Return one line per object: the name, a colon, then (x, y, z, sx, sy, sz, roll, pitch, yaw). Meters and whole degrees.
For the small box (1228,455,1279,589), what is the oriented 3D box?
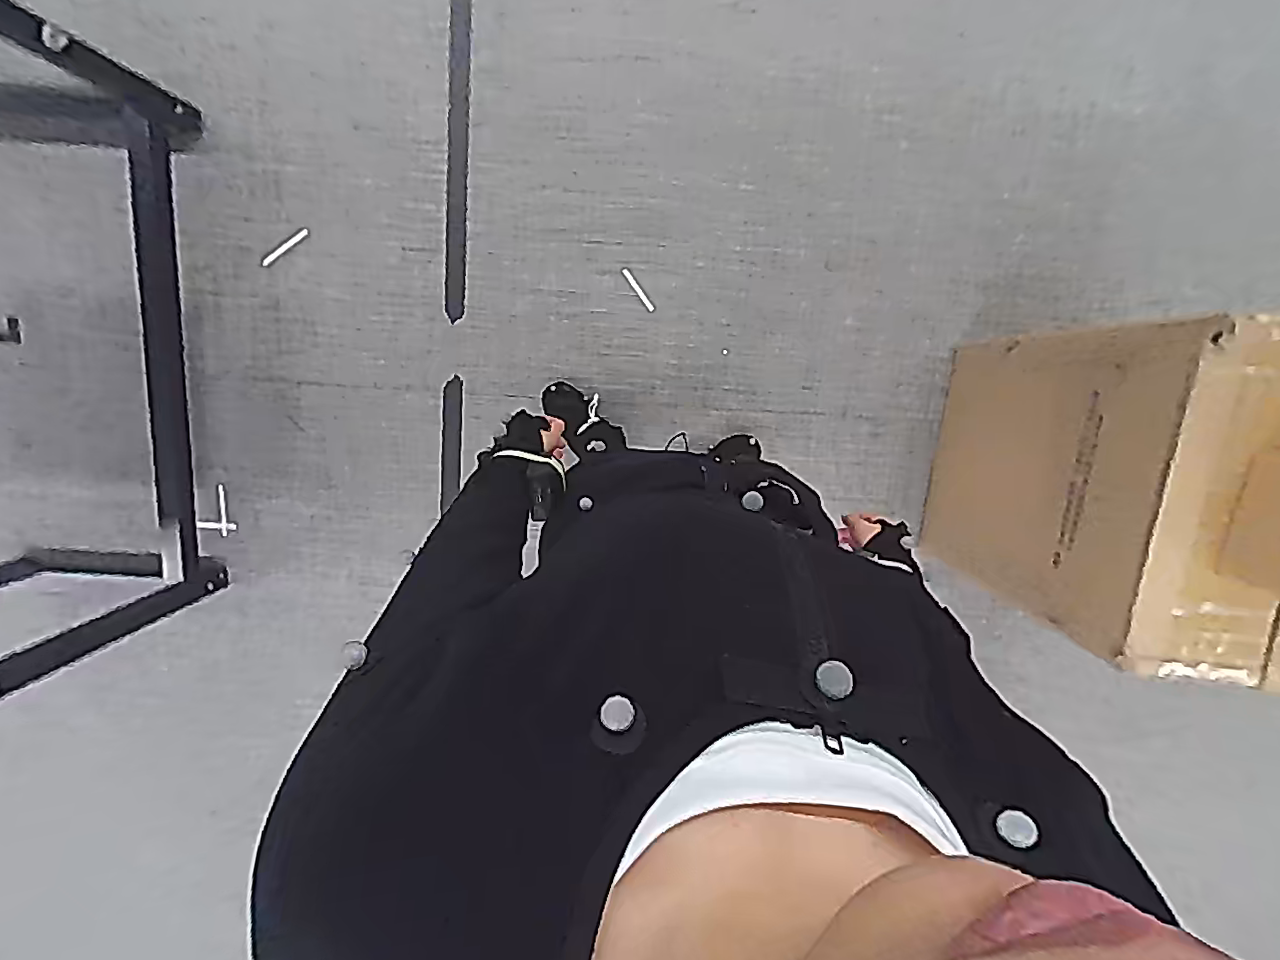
small box: (0.909, 0.069, 0.670, 0.168, 0.176, 0.179, 7, 101, 1)
